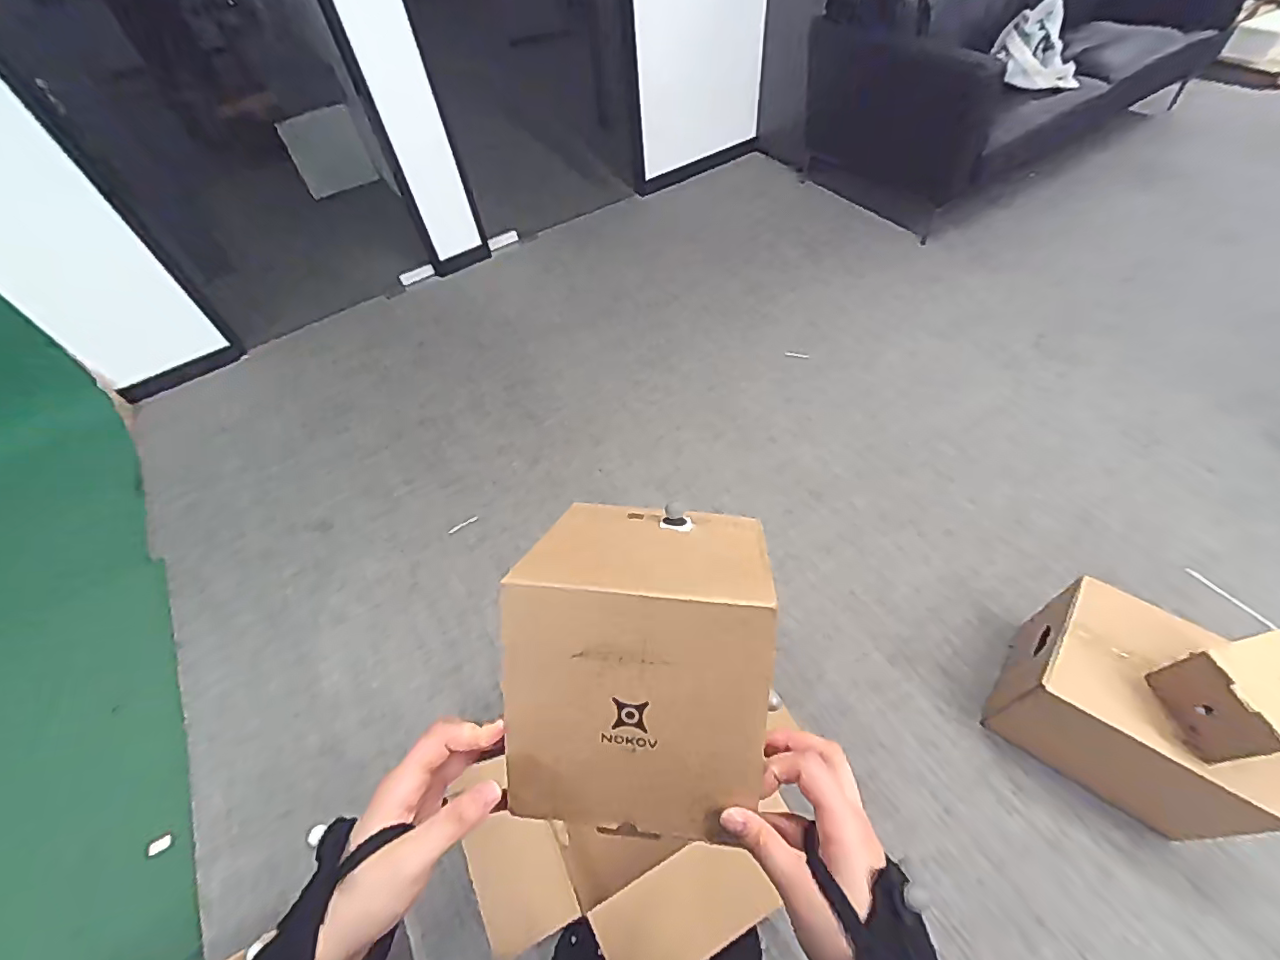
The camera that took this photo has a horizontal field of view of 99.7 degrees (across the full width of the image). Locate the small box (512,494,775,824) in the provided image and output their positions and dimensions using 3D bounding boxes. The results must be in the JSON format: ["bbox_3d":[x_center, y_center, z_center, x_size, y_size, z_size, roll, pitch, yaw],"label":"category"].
[{"bbox_3d":[0.009,0.121,0.427,0.168,0.179,0.176,3,14,7],"label":"small box"}]

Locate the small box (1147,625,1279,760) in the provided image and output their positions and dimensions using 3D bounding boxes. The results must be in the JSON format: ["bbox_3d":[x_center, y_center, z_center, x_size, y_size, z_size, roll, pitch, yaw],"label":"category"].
[{"bbox_3d":[1.076,0.385,0.967,0.179,0.176,0.168,-13,54,-2],"label":"small box"}]
